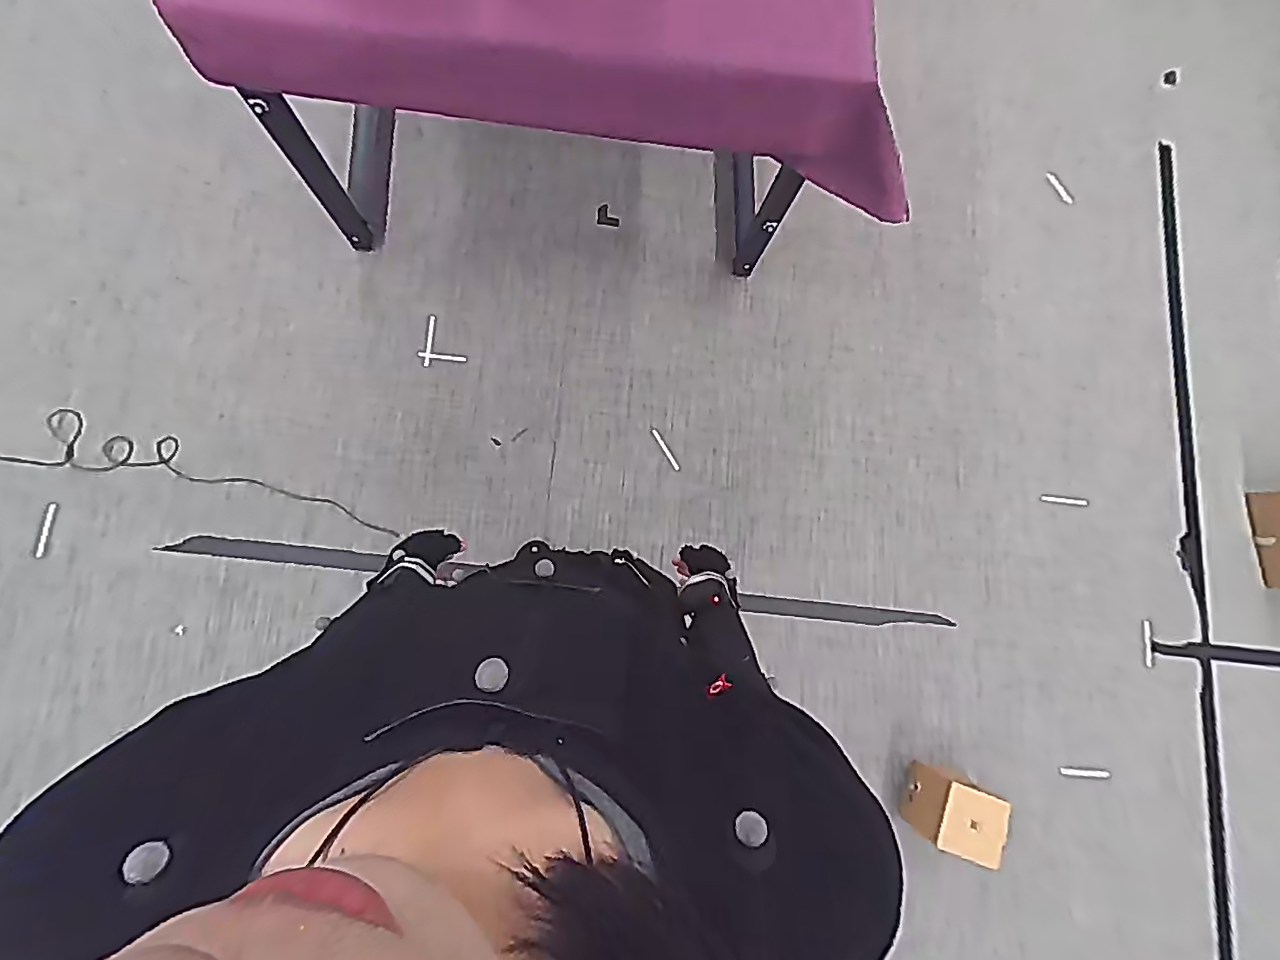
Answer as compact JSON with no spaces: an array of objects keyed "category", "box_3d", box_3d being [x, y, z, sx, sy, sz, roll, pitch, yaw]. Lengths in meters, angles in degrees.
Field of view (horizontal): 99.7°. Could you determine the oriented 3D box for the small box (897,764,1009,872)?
[{"category":"small box","box_3d":[0.831,0.893,1.447,0.179,0.176,0.168,21,79,-2]}]
